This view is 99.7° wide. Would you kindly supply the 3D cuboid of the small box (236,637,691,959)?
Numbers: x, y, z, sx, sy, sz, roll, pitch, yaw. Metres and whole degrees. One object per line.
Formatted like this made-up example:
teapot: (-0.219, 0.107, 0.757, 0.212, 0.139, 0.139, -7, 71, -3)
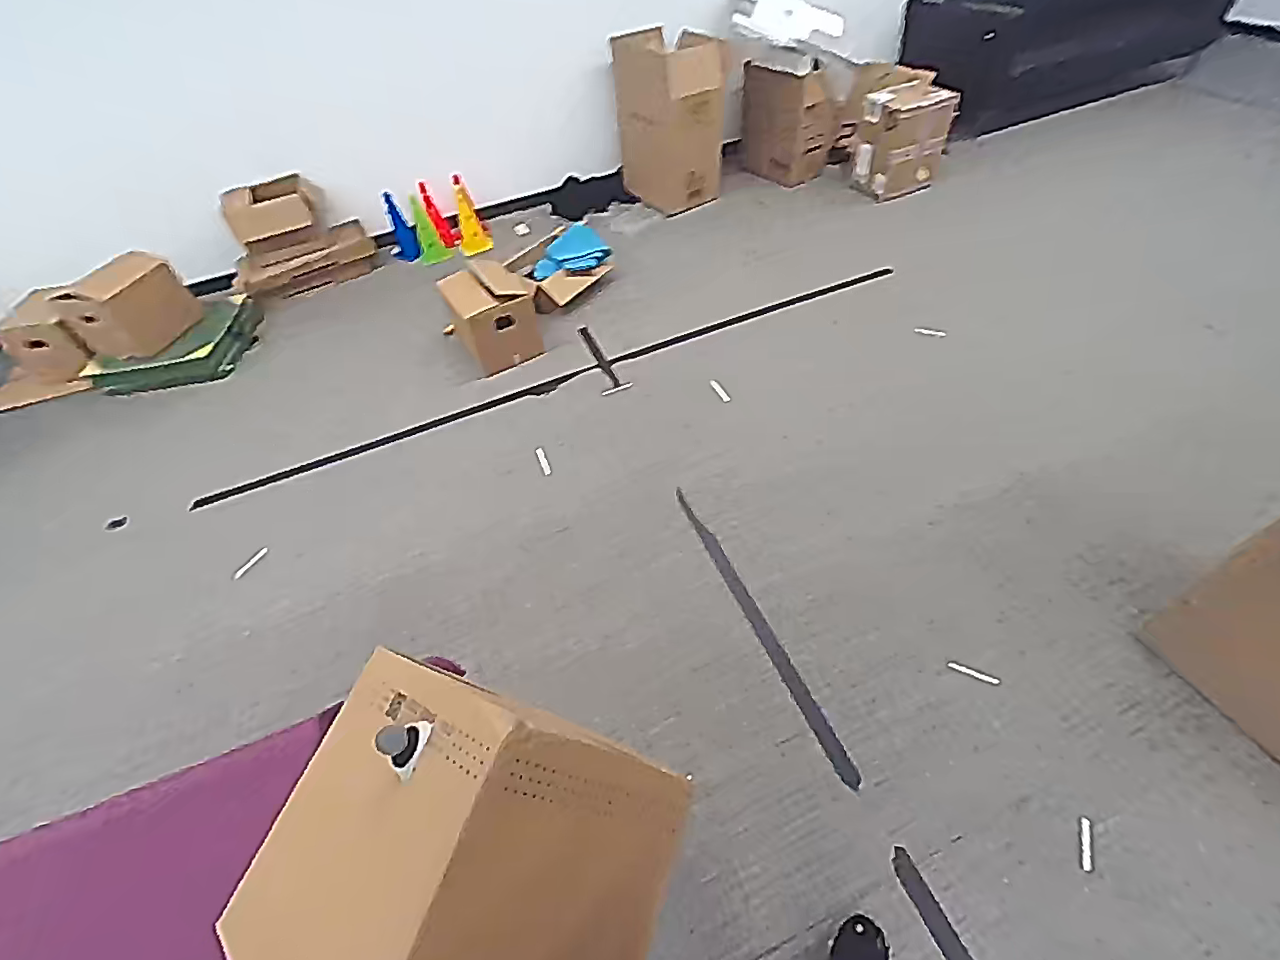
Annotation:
small box: (-0.094, 0.219, 0.337, 0.168, 0.179, 0.176, -2, 56, 44)
